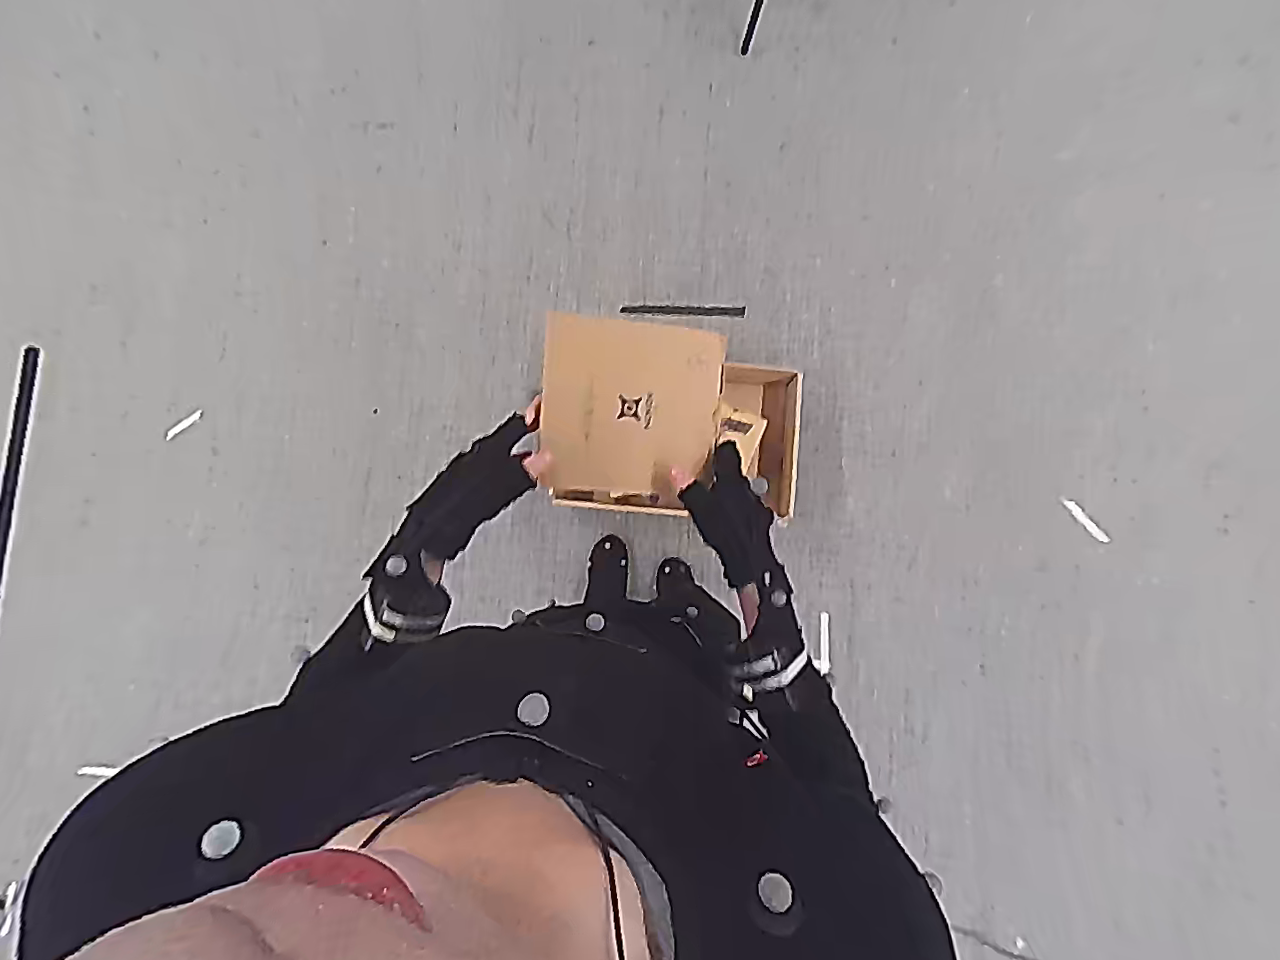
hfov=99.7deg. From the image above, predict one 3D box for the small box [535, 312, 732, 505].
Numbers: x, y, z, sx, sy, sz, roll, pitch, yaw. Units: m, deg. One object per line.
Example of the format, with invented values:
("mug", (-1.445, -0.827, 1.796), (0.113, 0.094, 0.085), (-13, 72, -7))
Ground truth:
("small box", (-0.016, -0.068, 0.575), (0.179, 0.176, 0.168), (3, 92, -8))
